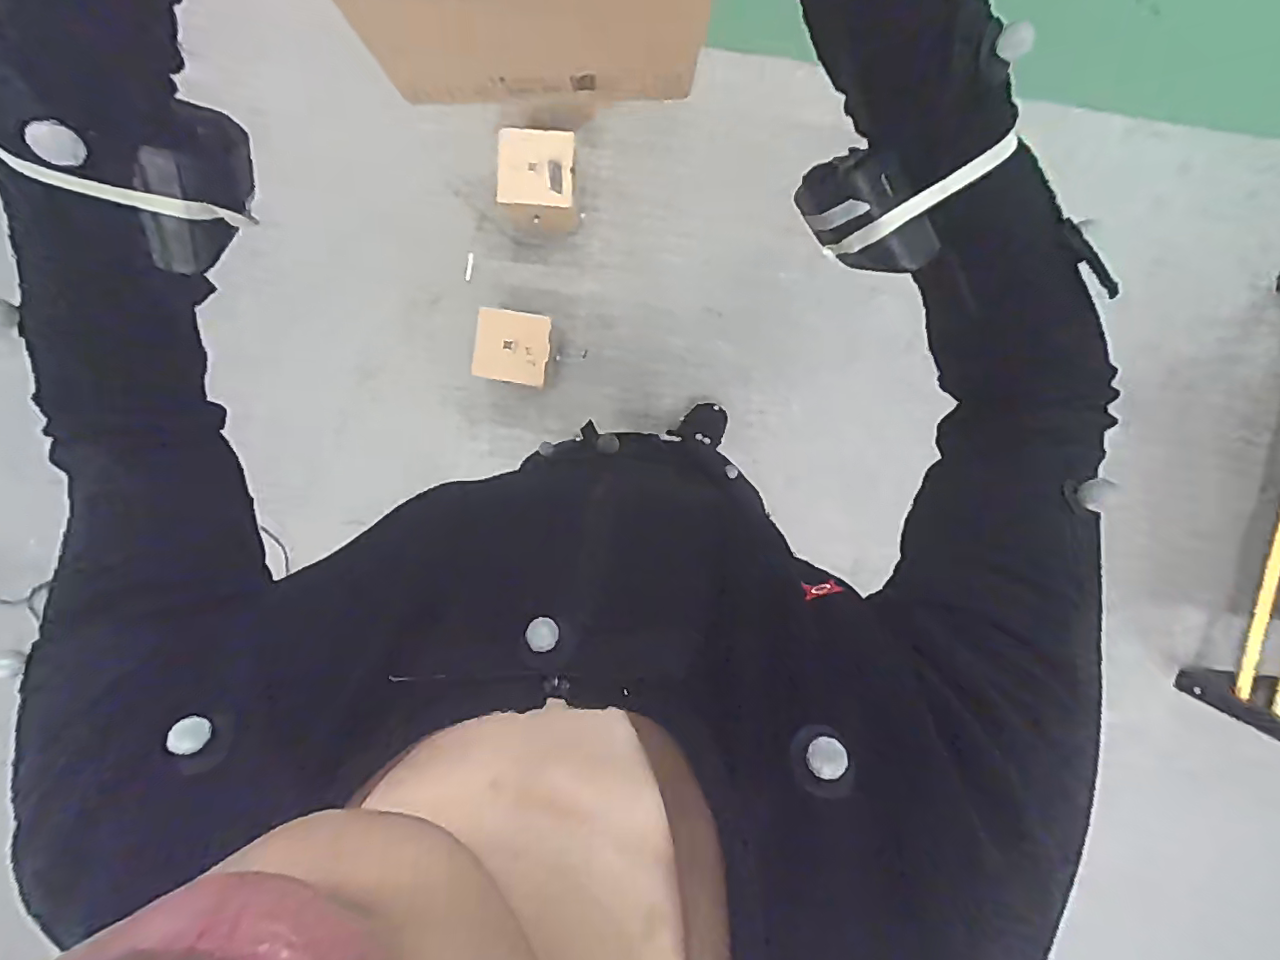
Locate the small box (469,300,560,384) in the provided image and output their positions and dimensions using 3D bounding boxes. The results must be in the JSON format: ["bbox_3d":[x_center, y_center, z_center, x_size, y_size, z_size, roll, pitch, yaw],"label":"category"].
[{"bbox_3d":[-0.306,-0.336,1.346,0.179,0.176,0.168,9,97,-2],"label":"small box"}]

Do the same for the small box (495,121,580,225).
[{"bbox_3d":[-0.240,-0.731,1.305,0.179,0.176,0.168,4,96,0],"label":"small box"}]
